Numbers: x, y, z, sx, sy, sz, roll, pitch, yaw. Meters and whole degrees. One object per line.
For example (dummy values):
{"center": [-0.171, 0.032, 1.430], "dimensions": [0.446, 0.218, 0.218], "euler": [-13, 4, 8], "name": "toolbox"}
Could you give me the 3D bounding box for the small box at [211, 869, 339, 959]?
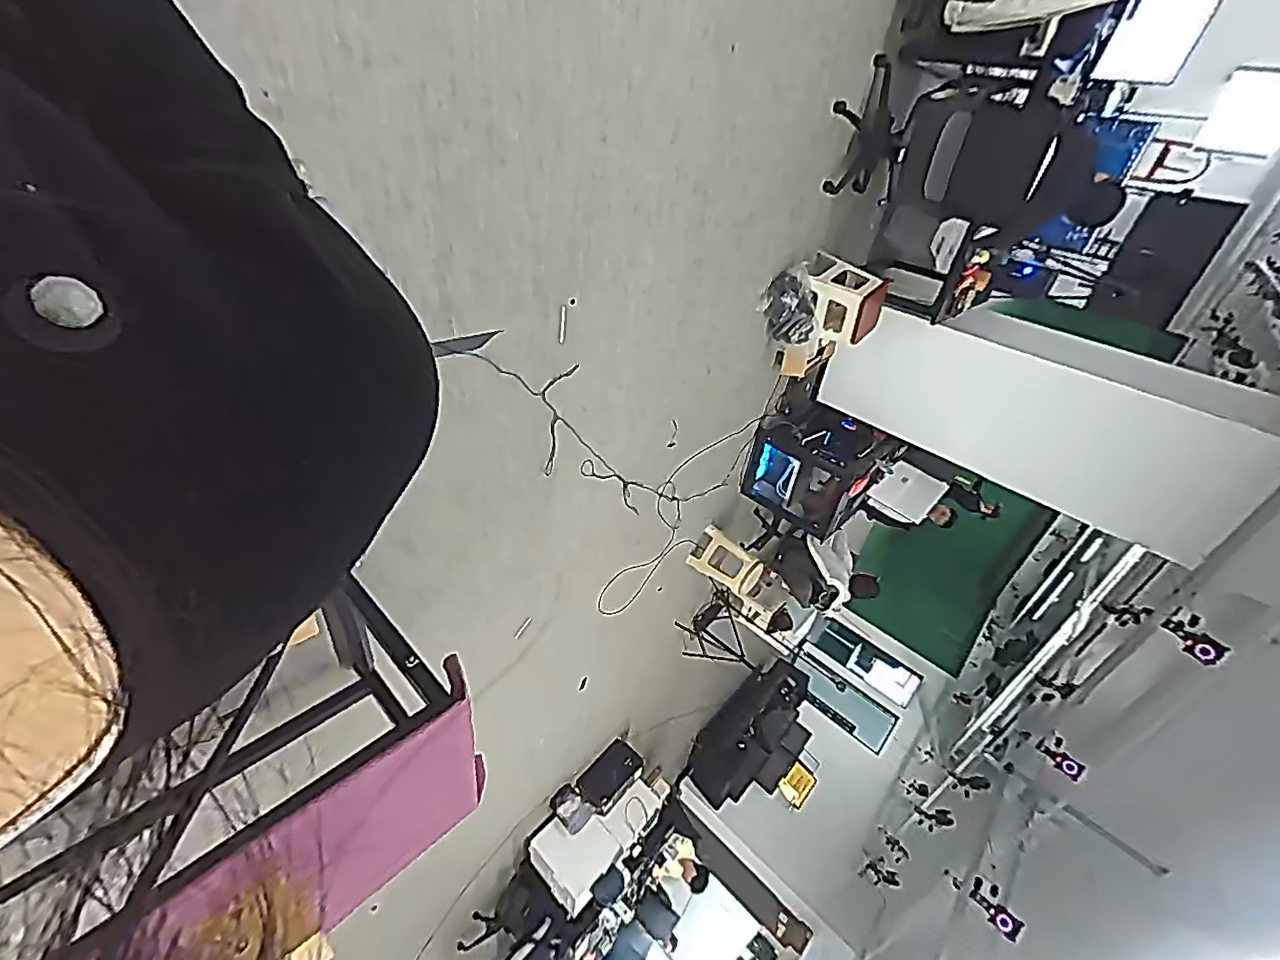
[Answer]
{"center": [-0.776, 0.982, 1.153], "dimensions": [0.168, 0.176, 0.179], "euler": [-26, 140, -41], "name": "small box"}
